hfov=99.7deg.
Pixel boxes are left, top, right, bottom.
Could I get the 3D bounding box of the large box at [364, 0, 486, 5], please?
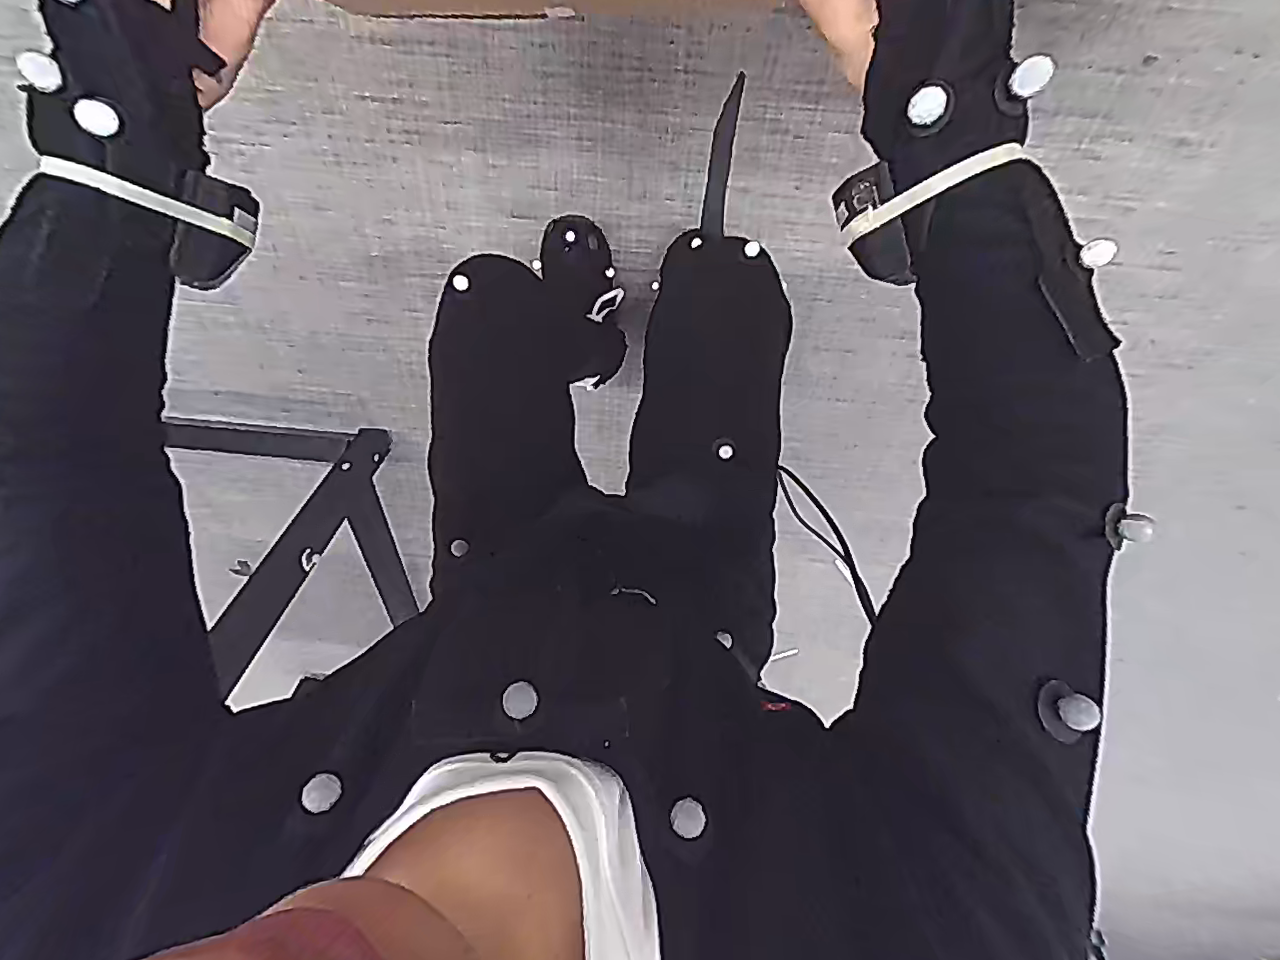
[{"bbox_3d":[-0.059,-0.450,0.173,0.320,0.320,0.408,-1,121,1],"label":"large box"}]
